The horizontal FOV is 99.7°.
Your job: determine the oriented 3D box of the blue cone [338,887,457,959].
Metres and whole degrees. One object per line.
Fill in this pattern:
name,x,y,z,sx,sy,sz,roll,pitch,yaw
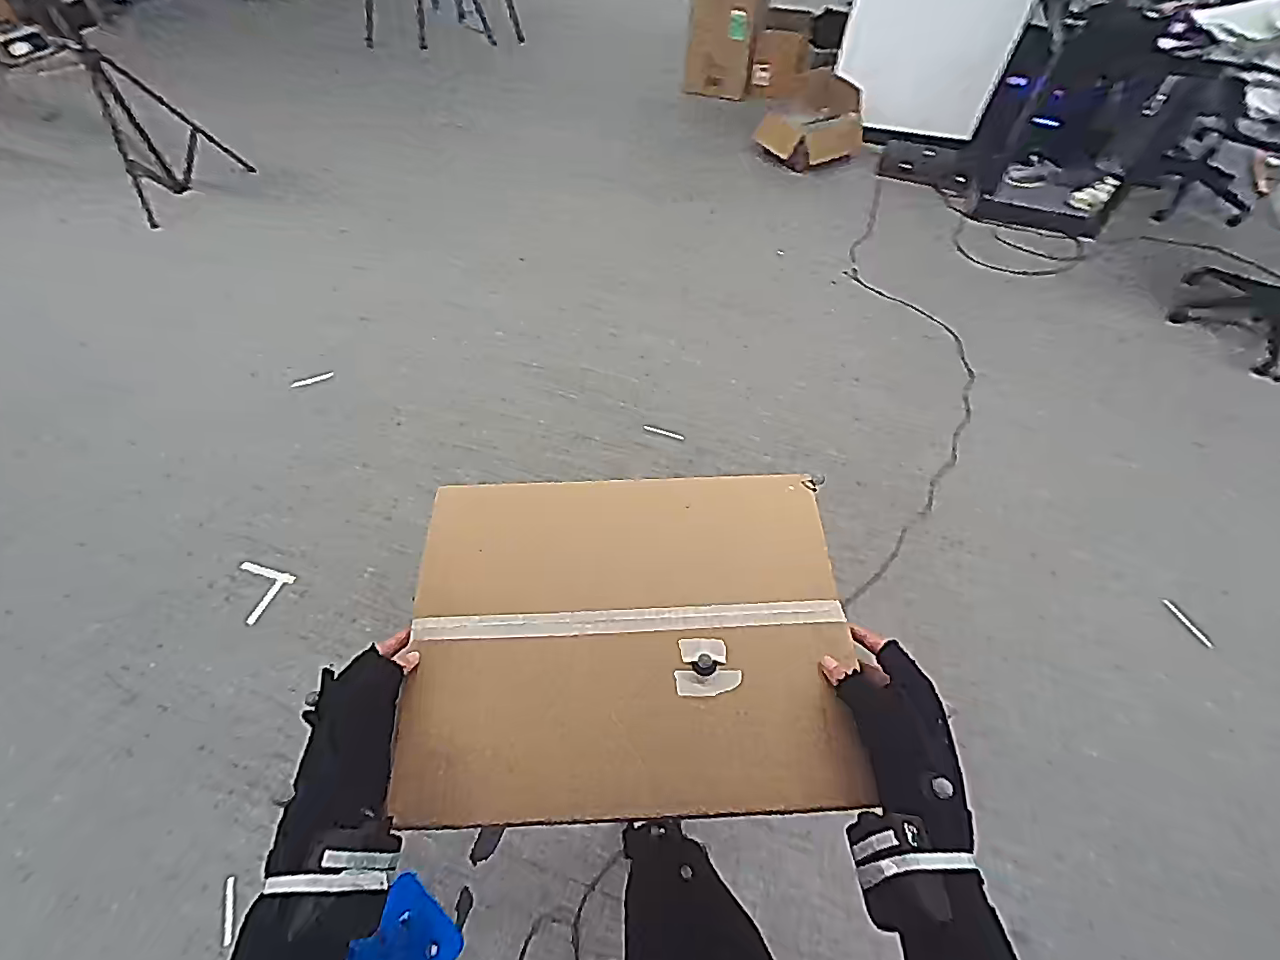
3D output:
blue cone,-0.491,0.874,0.965,0.193,0.380,0.192,35,62,23

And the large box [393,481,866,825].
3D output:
large box,-0.015,0.219,0.650,0.408,0.320,0.320,-2,58,-1
